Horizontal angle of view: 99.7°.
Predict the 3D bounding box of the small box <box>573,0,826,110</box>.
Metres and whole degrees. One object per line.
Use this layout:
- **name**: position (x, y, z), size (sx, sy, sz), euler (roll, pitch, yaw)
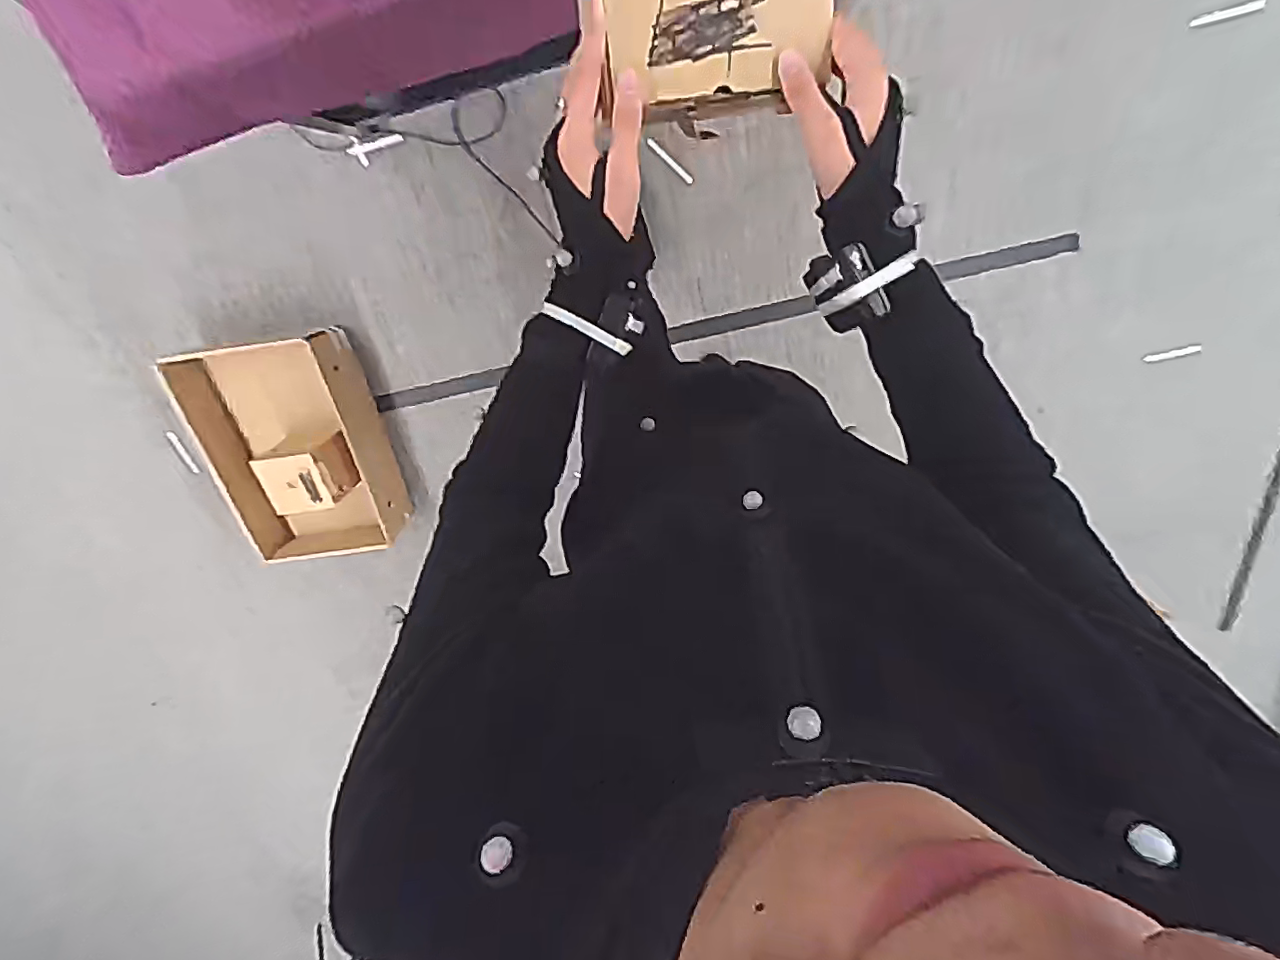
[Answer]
- **small box**: position (0.035, -0.404, 0.421), size (0.168, 0.176, 0.179), euler (-10, 118, -6)
